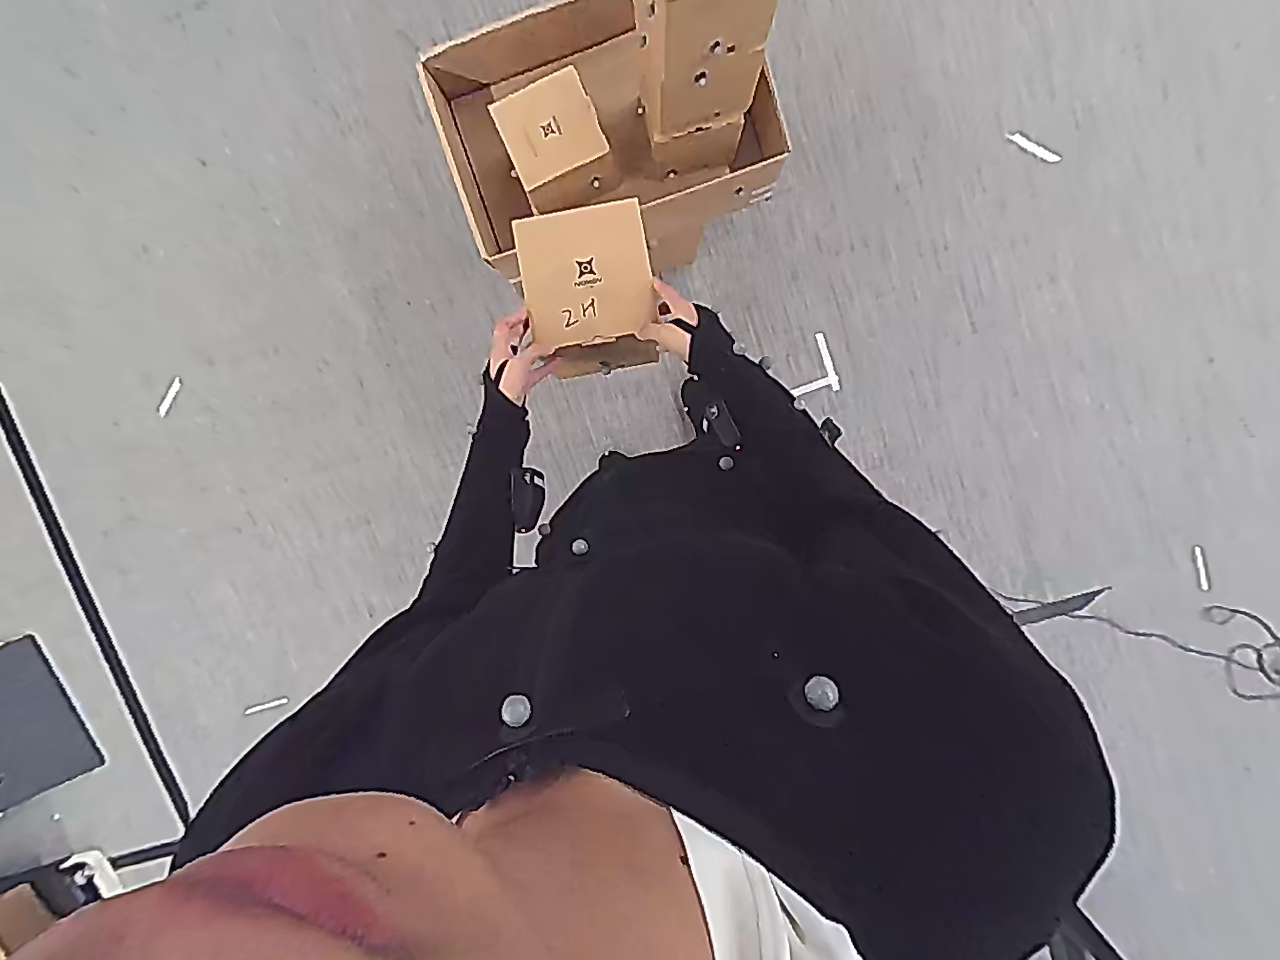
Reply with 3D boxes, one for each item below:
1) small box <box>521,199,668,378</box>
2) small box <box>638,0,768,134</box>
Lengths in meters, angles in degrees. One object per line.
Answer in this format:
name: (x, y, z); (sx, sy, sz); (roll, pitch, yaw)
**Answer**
small box: (-0.058, -0.257, 0.763); (0.168, 0.176, 0.179); (-11, 89, 1)
small box: (0.093, -0.709, 0.874); (0.168, 0.176, 0.179); (-15, 95, 4)
